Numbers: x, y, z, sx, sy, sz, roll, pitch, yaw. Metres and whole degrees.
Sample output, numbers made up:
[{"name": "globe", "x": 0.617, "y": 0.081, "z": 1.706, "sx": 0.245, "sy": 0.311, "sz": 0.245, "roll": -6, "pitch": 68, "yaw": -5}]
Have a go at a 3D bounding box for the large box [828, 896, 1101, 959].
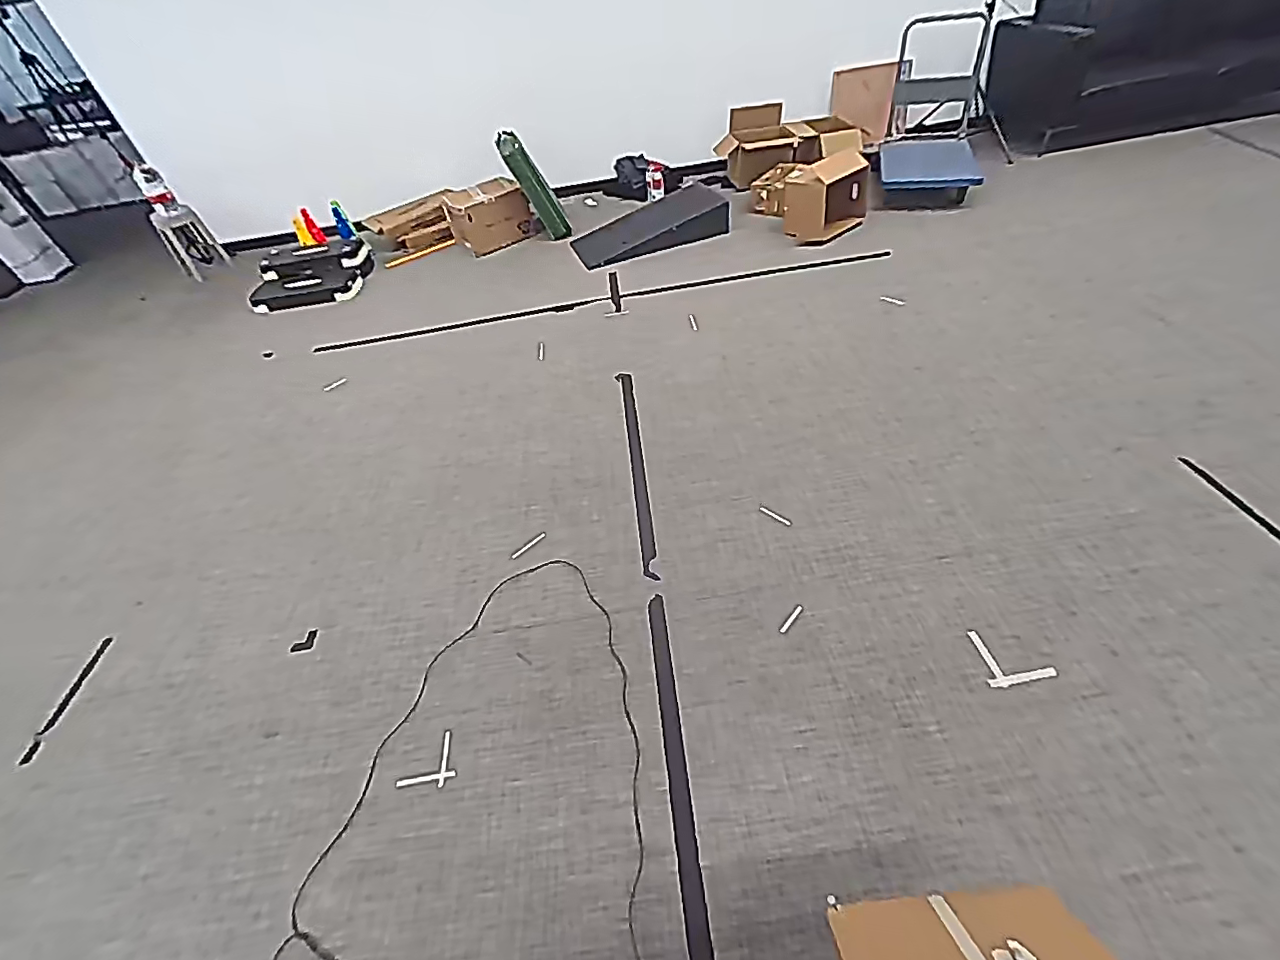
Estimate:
[{"name": "large box", "x": 0.436, "y": 0.753, "z": 0.581, "sx": 0.320, "sy": 0.408, "sz": 0.320, "roll": -8, "pitch": 83, "yaw": 4}]
